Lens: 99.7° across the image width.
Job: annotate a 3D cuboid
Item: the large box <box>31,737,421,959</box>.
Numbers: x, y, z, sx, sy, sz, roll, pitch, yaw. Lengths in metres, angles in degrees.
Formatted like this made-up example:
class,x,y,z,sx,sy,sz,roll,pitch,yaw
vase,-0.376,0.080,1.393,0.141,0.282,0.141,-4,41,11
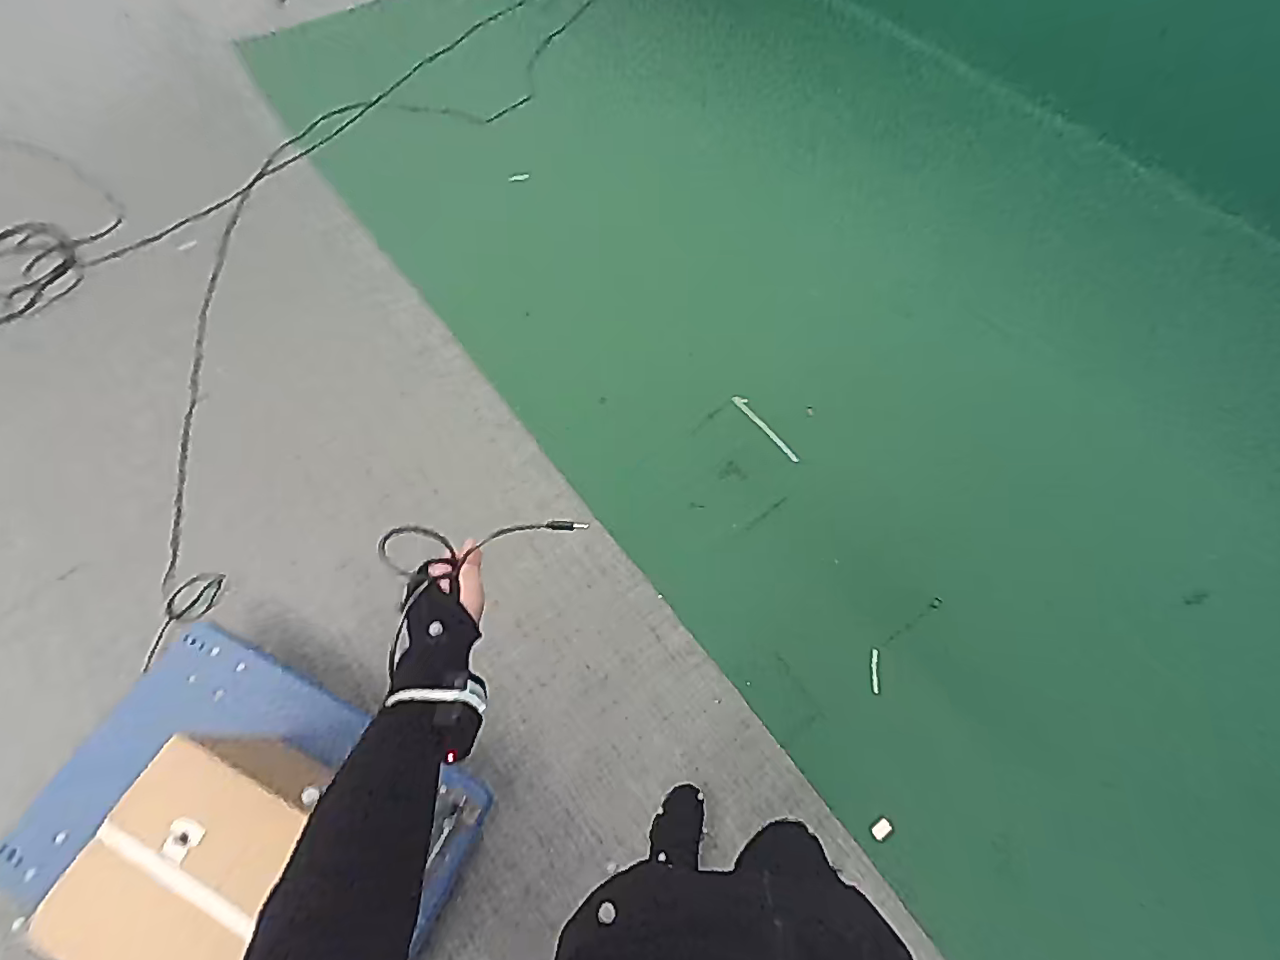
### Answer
class,x,y,z,sx,sy,sz,roll,pitch,yaw
large box,-0.699,0.717,0.992,0.408,0.320,0.320,24,65,11
